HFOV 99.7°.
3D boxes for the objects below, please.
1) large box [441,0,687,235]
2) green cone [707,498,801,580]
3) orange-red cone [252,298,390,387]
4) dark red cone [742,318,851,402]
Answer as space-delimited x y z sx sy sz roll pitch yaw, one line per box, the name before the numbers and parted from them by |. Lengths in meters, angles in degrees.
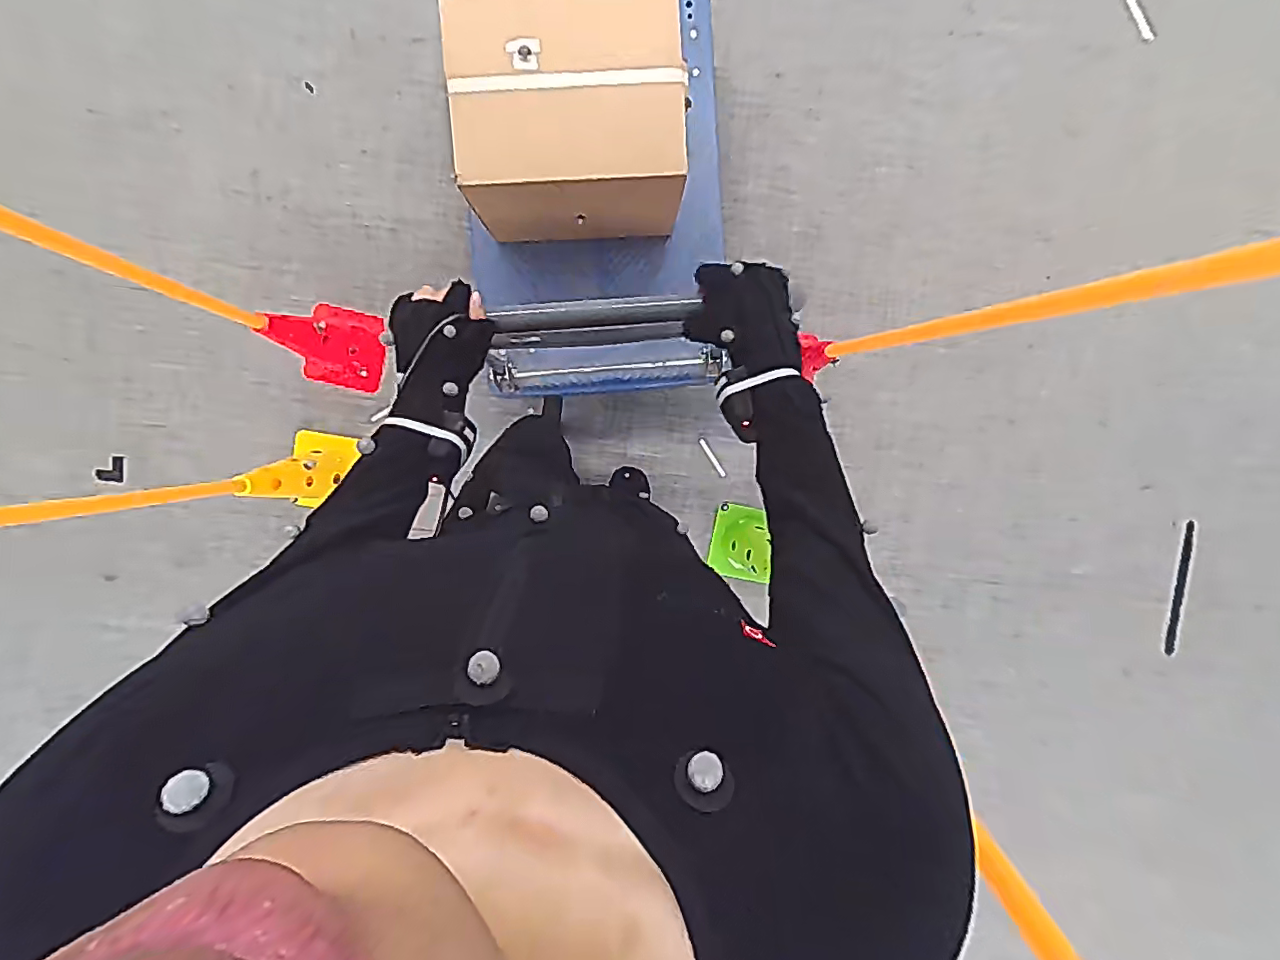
large box | -0.128 -0.700 1.069 0.408 0.320 0.320 -4 96 -1
green cone | 0.305 0.178 1.317 0.202 0.368 0.200 10 95 -4
orange-red cone | -0.750 -0.340 1.228 0.198 0.360 0.199 14 93 -4
dark red cone | 0.383 -0.298 1.256 0.201 0.394 0.202 6 96 -5
